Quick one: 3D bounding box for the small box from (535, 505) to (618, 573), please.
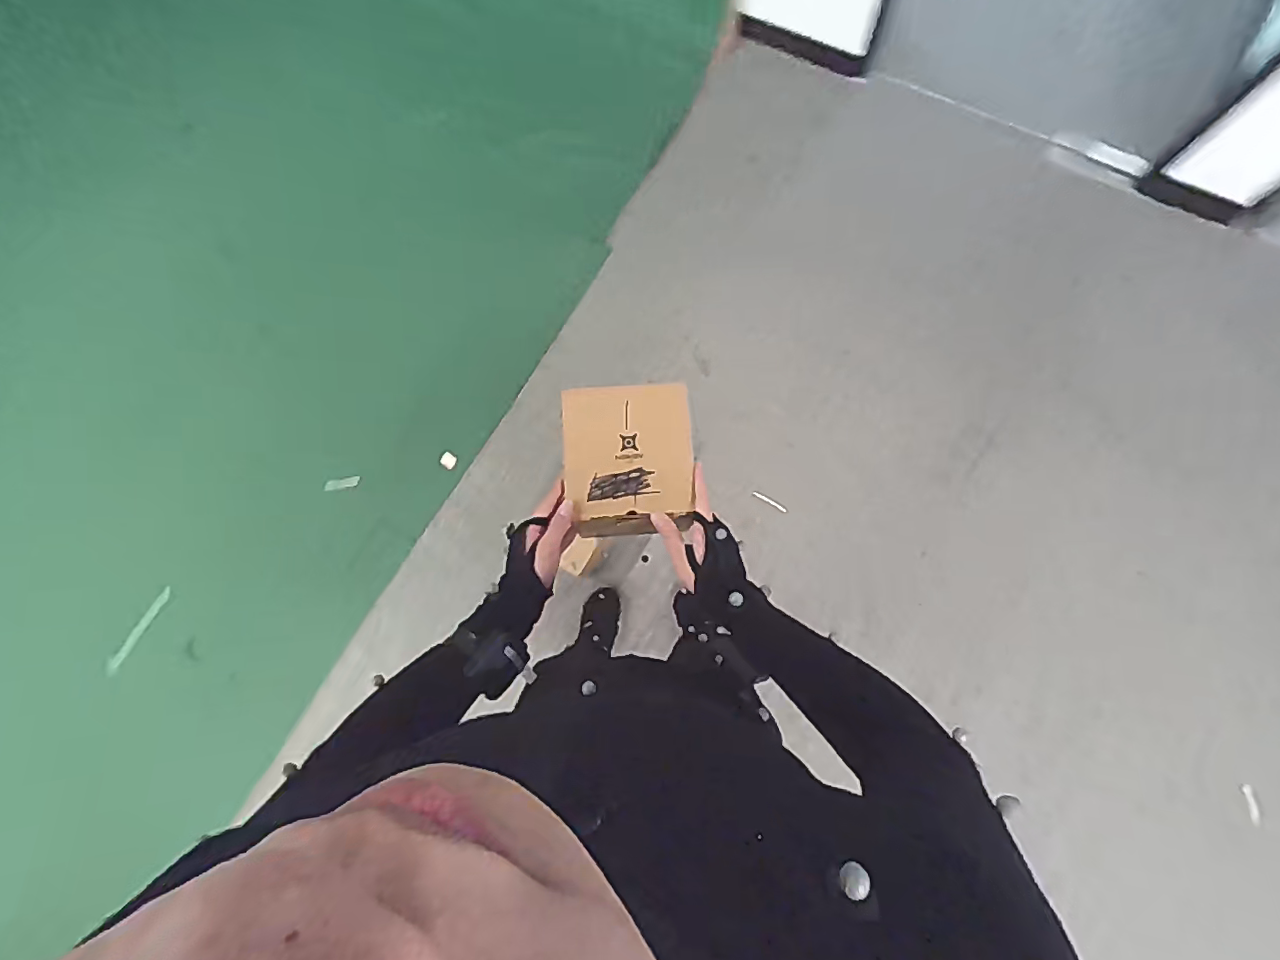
[{"bbox_3d":[-0.179,0.159,1.604,0.168,0.176,0.179,32,84,12],"label":"small box"}]

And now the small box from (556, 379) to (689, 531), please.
[{"bbox_3d":[-0.022,-0.024,0.762,0.168,0.176,0.179,-4,76,-1],"label":"small box"}]
